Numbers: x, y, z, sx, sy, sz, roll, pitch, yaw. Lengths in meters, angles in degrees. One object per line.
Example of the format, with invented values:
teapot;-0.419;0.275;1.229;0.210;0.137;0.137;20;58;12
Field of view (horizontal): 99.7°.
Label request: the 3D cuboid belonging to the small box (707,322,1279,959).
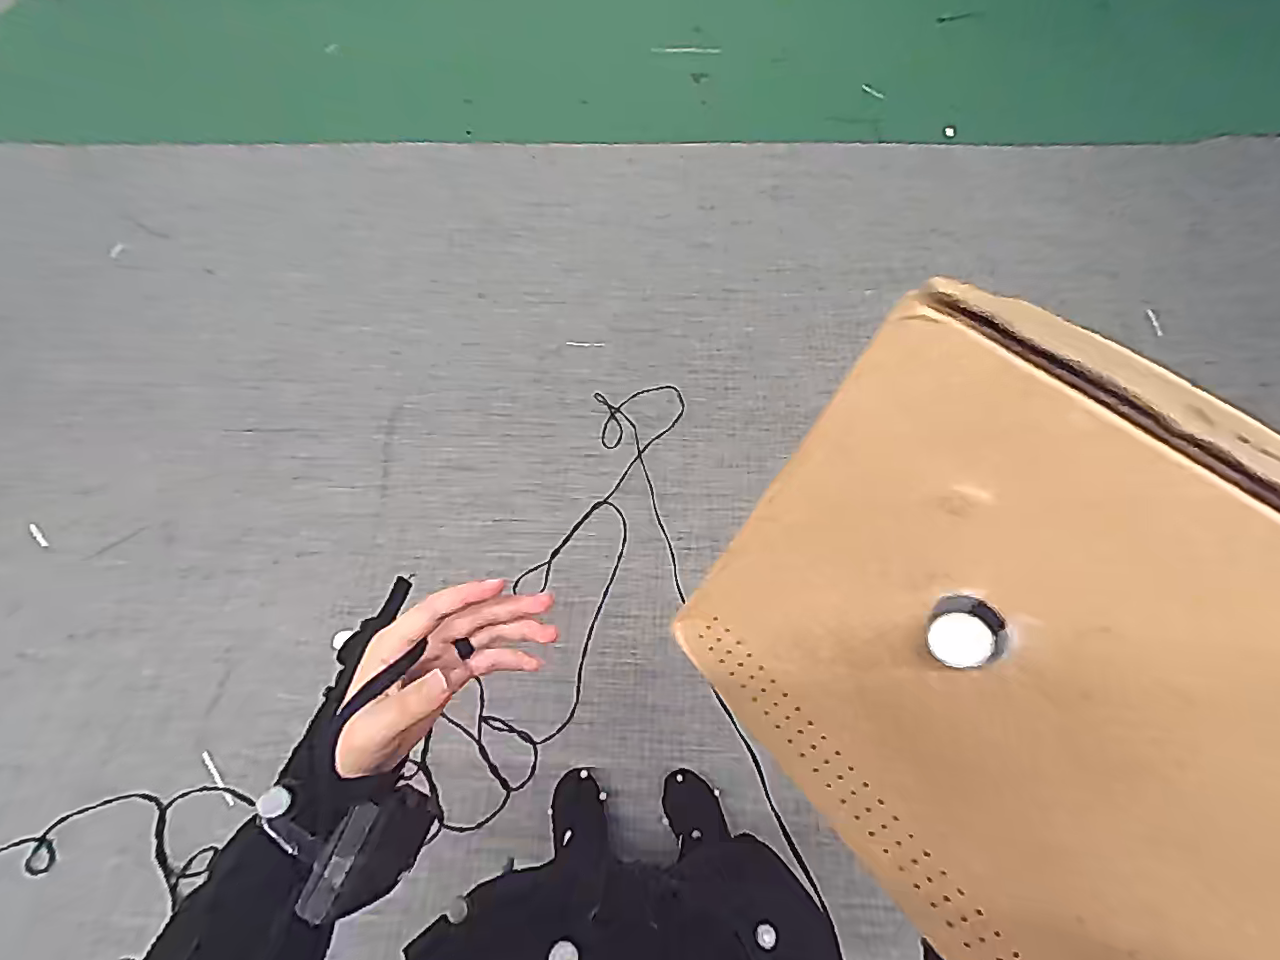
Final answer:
small box;0.159;0.053;0.221;0.168;0.176;0.179;-18;54;-45
